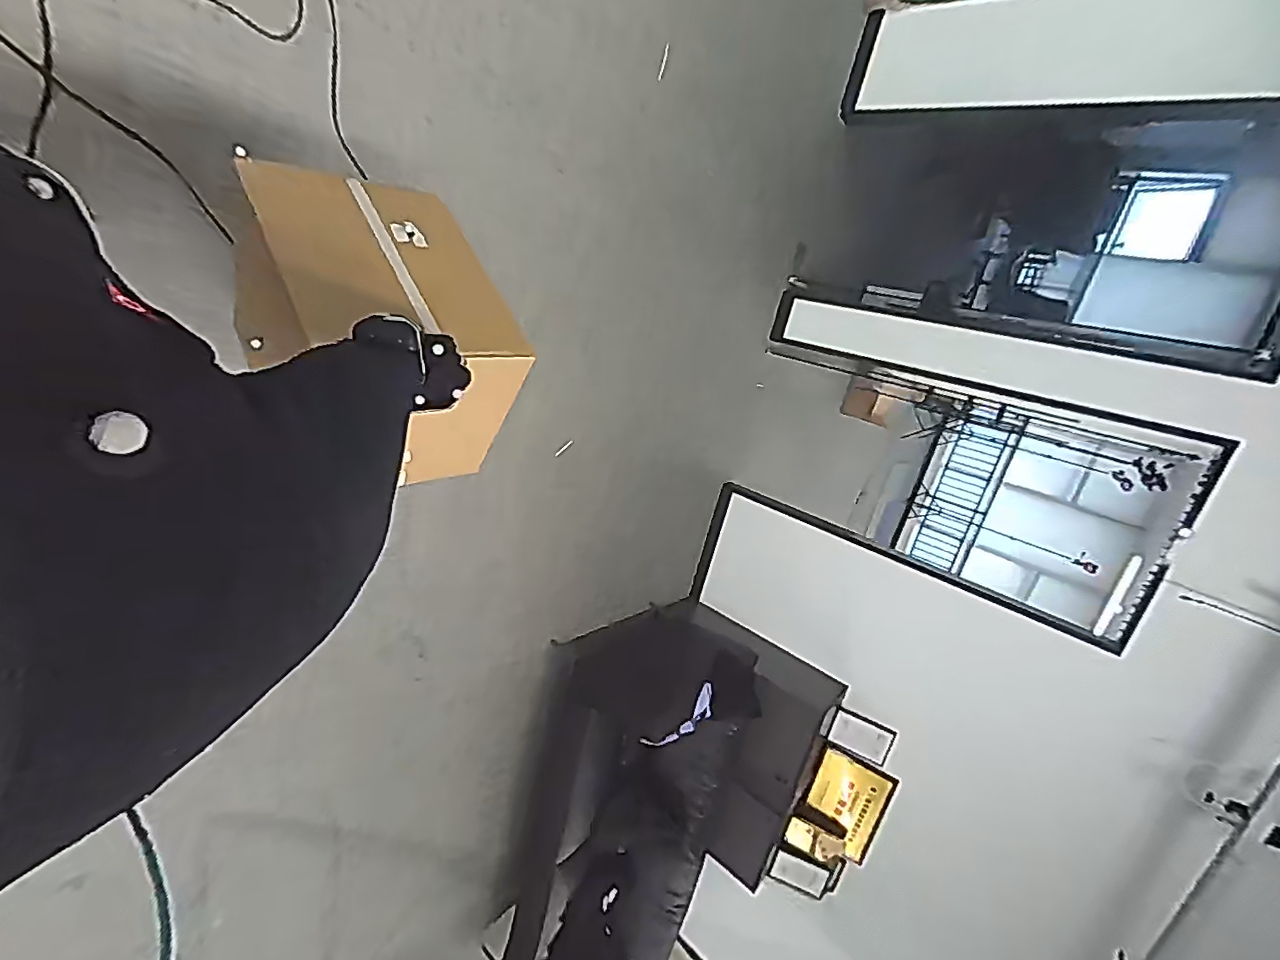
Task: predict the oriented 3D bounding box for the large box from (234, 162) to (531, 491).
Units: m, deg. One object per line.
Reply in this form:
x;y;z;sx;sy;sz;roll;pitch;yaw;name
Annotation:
-0.451;-0.246;0.920;0.320;0.408;0.320;-13;152;-44;large box
